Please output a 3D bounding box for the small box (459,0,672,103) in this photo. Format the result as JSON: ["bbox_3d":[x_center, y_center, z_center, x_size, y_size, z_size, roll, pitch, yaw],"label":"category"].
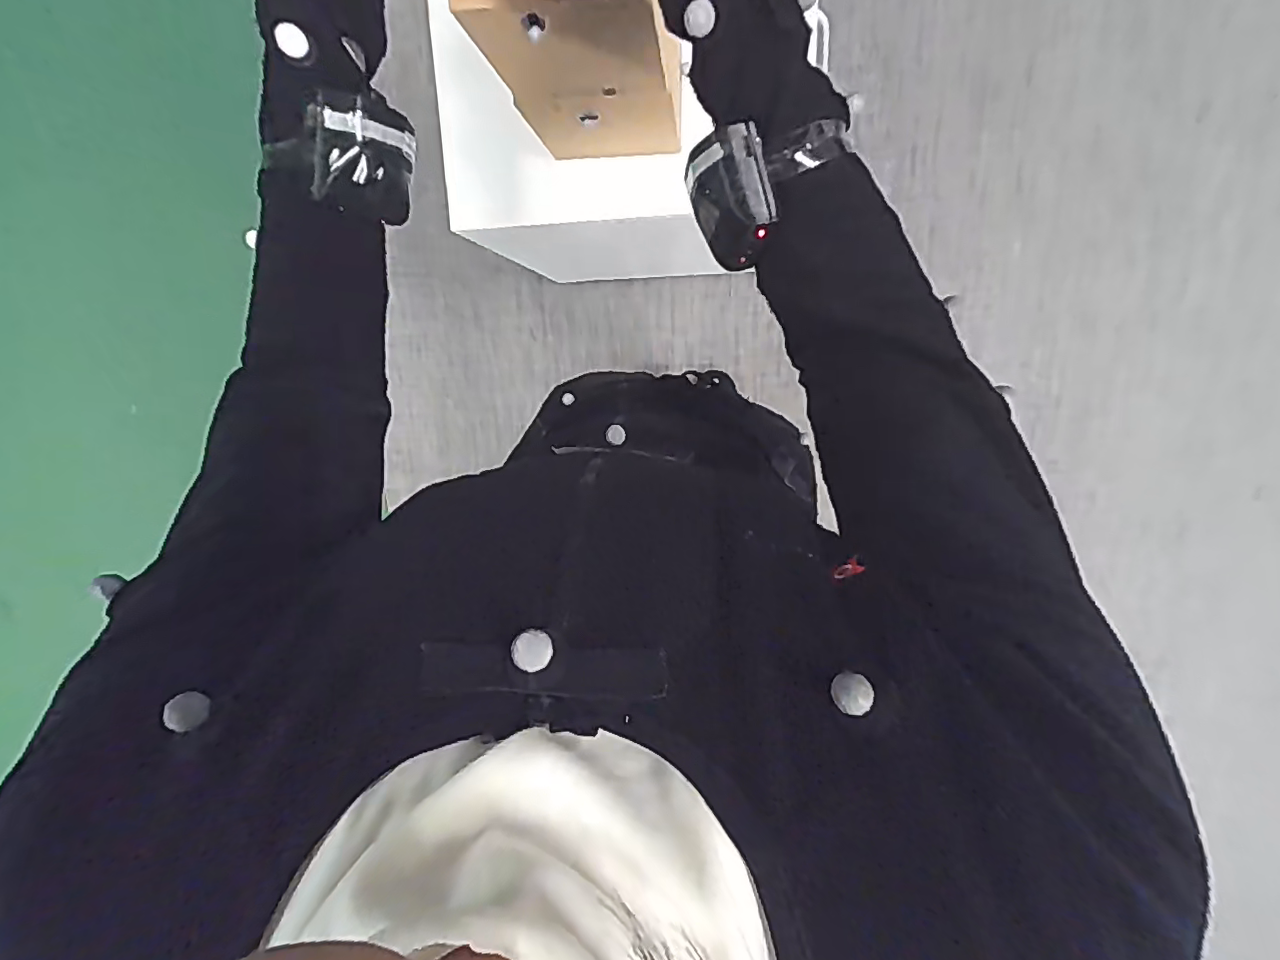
[{"bbox_3d":[-0.058,-0.478,0.486,0.168,0.176,0.179,0,103,7],"label":"small box"}]

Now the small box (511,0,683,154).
[{"bbox_3d":[-0.043,-0.508,0.643,0.179,0.176,0.168,2,102,7],"label":"small box"}]
